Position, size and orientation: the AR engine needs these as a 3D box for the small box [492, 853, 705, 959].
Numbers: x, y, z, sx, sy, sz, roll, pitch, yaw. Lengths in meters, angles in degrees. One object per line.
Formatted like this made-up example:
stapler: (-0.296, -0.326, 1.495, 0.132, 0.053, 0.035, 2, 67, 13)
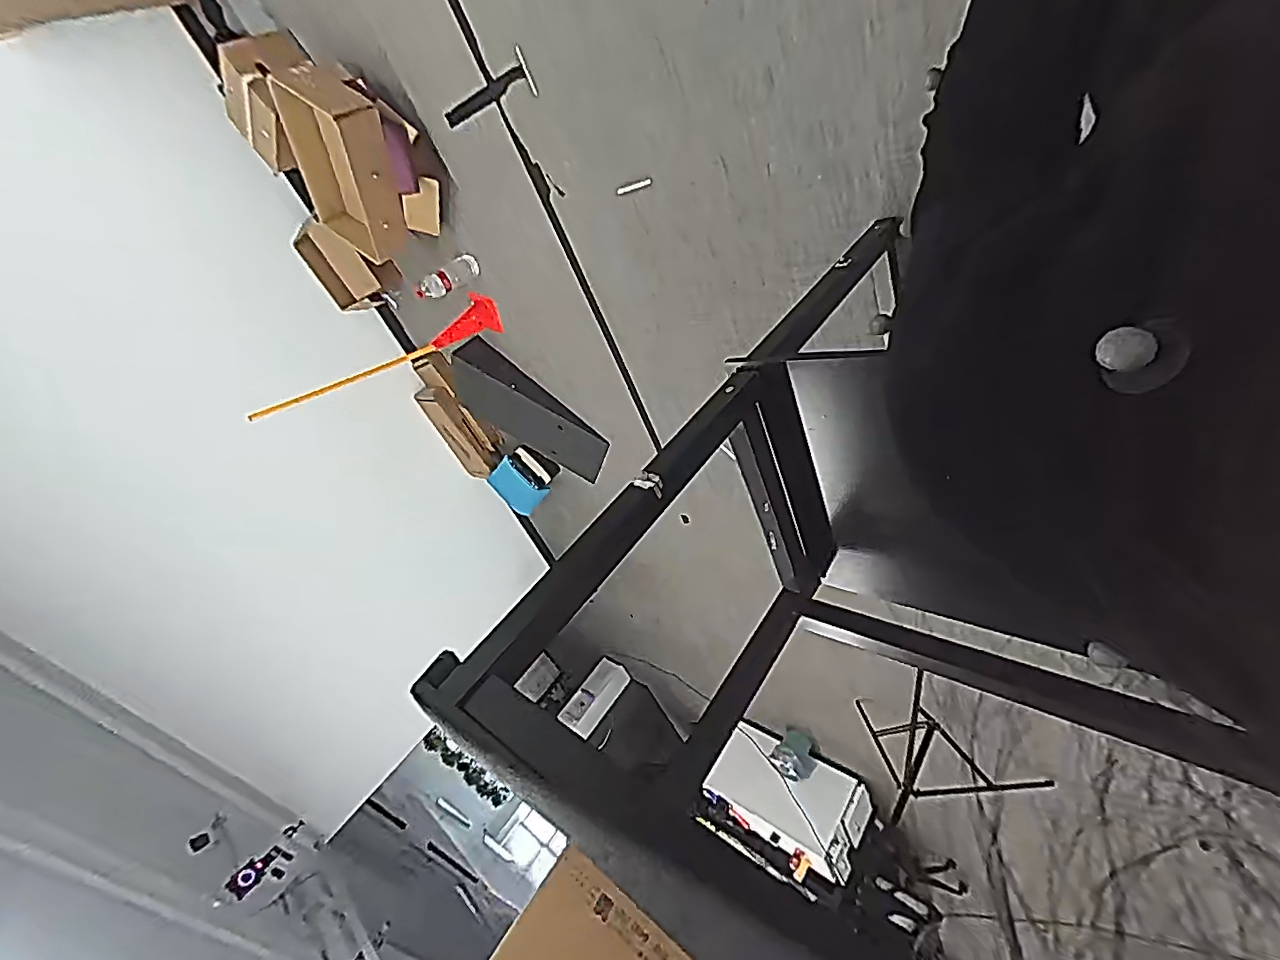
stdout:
small box: (-0.029, 0.448, 0.436, 0.168, 0.176, 0.179, 14, 141, 40)
